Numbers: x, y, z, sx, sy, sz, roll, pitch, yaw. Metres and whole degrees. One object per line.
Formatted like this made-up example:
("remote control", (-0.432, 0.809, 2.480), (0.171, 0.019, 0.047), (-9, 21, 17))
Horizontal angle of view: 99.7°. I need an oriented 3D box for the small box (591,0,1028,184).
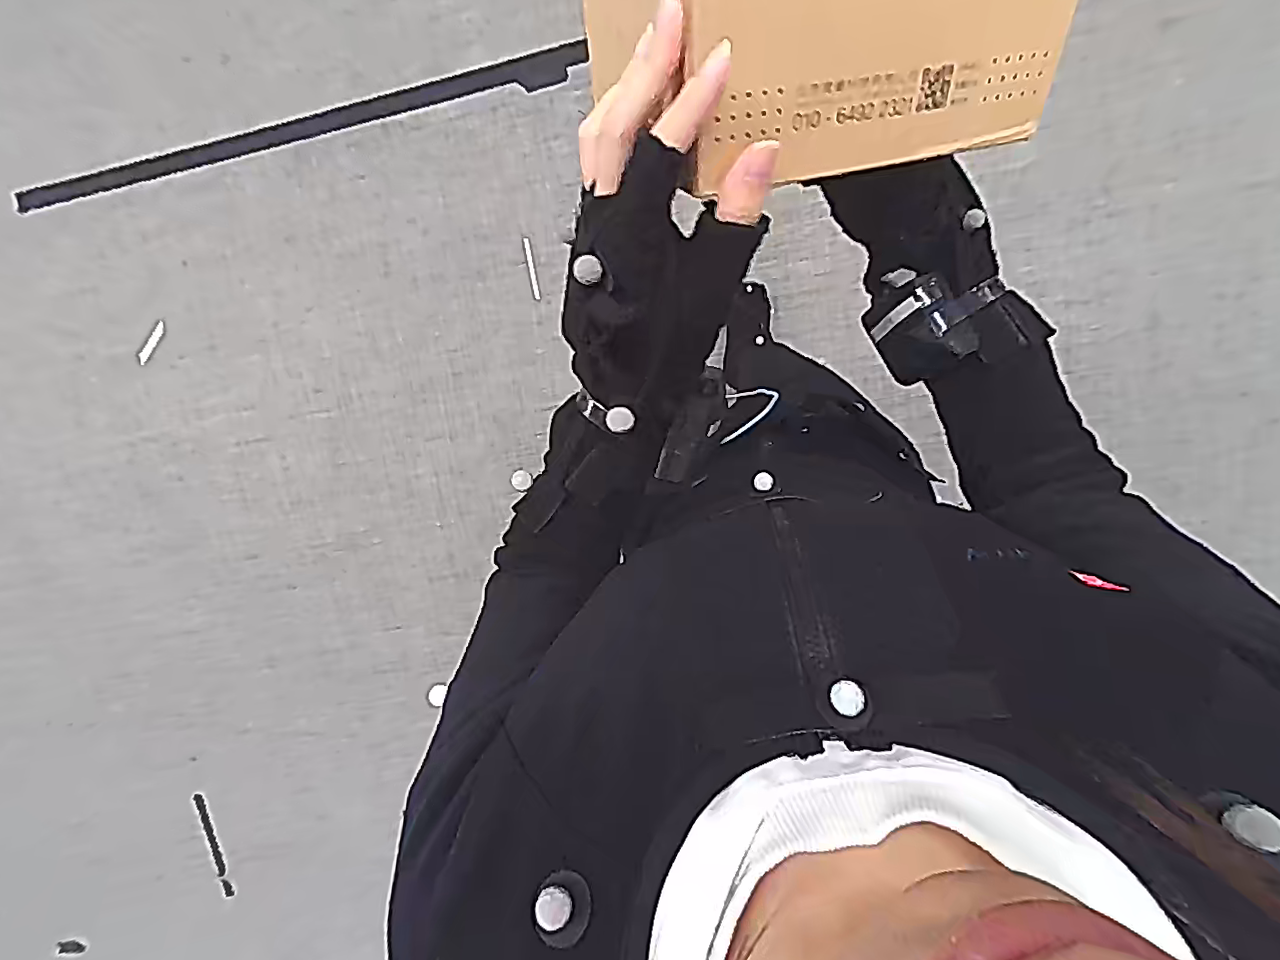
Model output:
("small box", (0.069, -0.256, 0.263), (0.168, 0.179, 0.176), (-13, 130, -8))
